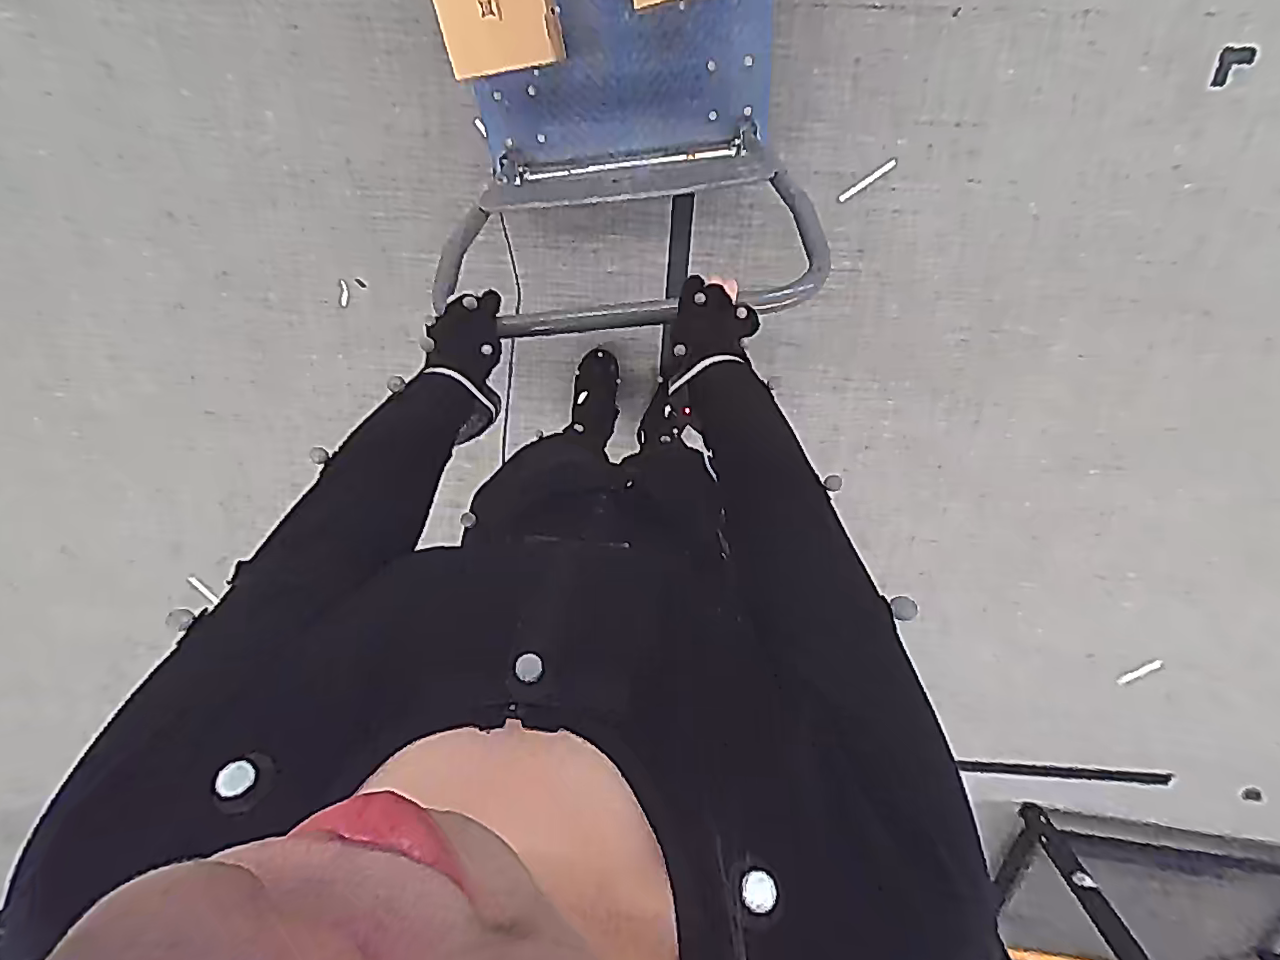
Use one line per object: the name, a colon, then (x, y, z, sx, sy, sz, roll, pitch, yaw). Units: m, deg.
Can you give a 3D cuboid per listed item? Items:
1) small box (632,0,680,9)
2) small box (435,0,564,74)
small box: (0.061, -0.874, 0.856, 0.179, 0.176, 0.168, -8, 129, 8)
small box: (-0.238, -0.804, 0.920, 0.179, 0.176, 0.168, -7, 128, 5)
